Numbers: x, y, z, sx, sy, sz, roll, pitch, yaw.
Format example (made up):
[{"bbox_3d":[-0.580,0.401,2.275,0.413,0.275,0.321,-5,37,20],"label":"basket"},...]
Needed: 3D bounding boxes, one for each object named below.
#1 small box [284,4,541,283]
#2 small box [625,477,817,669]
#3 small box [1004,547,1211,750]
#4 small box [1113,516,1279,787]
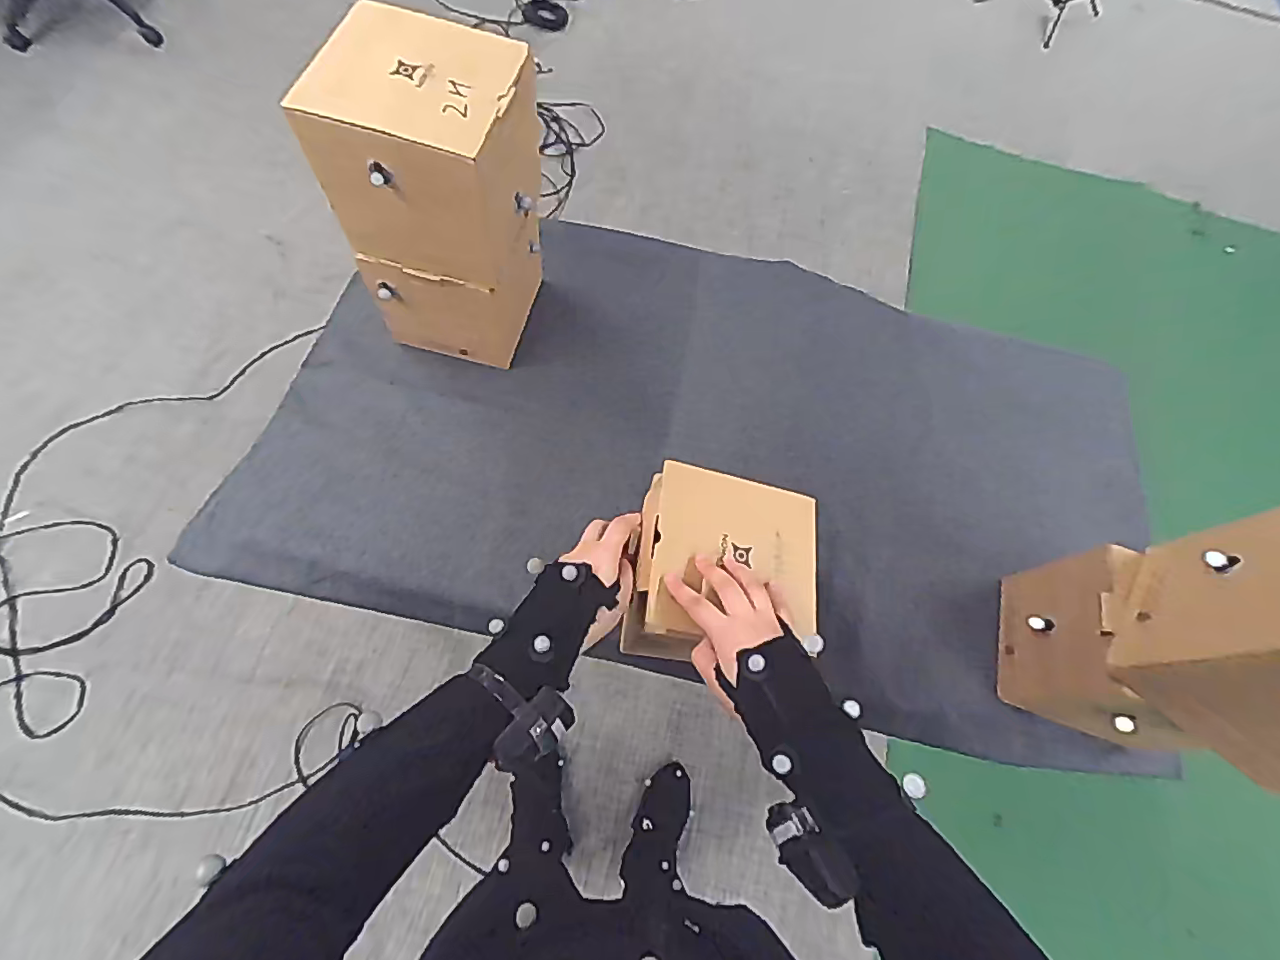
[{"bbox_3d":[-0.214,-0.337,0.568,0.179,0.176,0.168,15,69,-1],"label":"small box"},{"bbox_3d":[0.081,0.114,0.607,0.179,0.176,0.168,9,67,-4],"label":"small box"},{"bbox_3d":[0.559,0.202,0.625,0.179,0.176,0.168,20,65,2],"label":"small box"},{"bbox_3d":[0.577,0.152,0.470,0.179,0.176,0.168,40,67,10],"label":"small box"}]
